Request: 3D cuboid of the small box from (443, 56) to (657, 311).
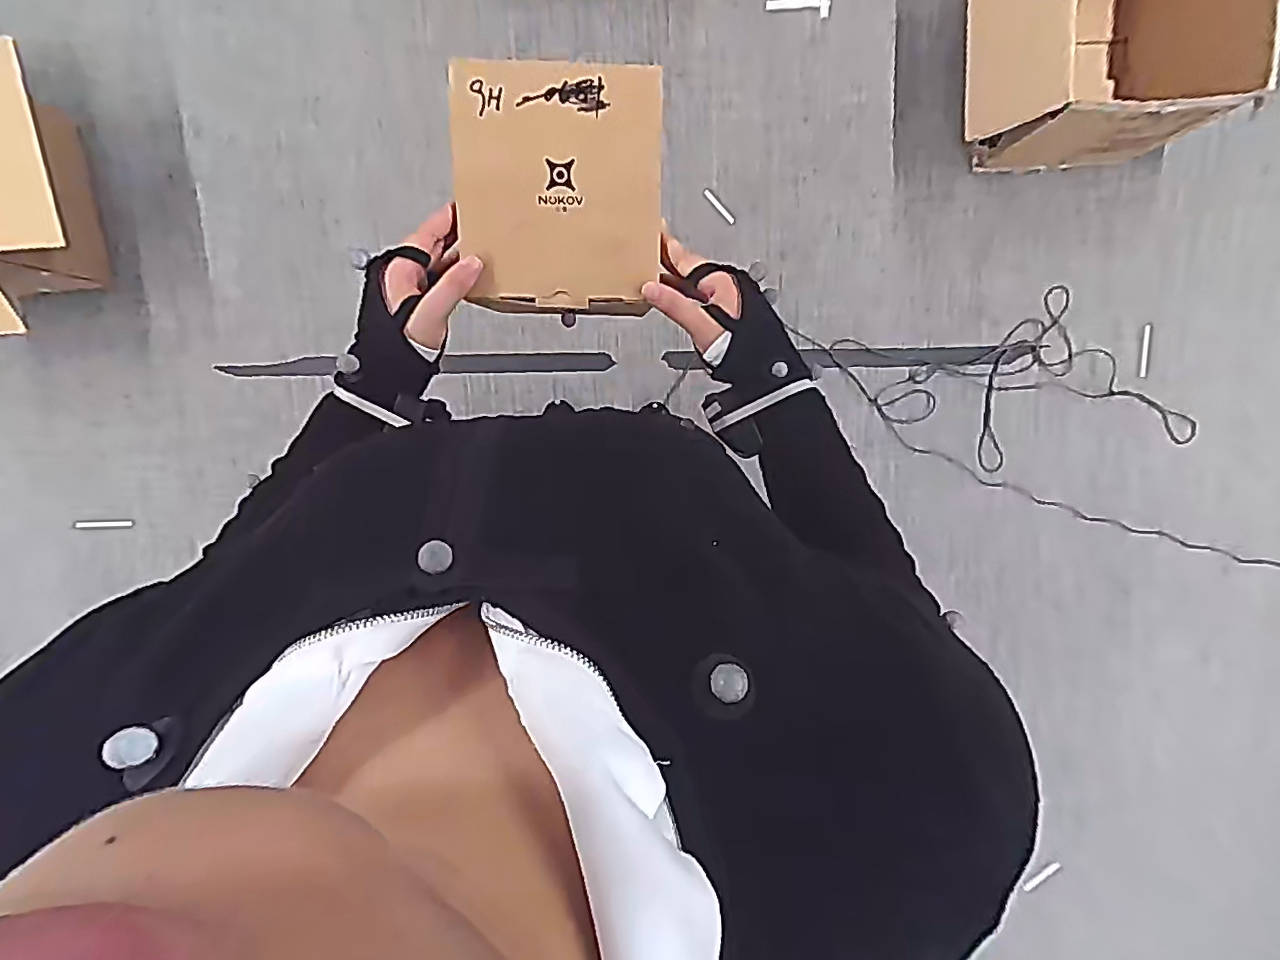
[{"bbox_3d":[-0.073,-0.254,0.509,0.168,0.176,0.179,0,104,-4],"label":"small box"}]
